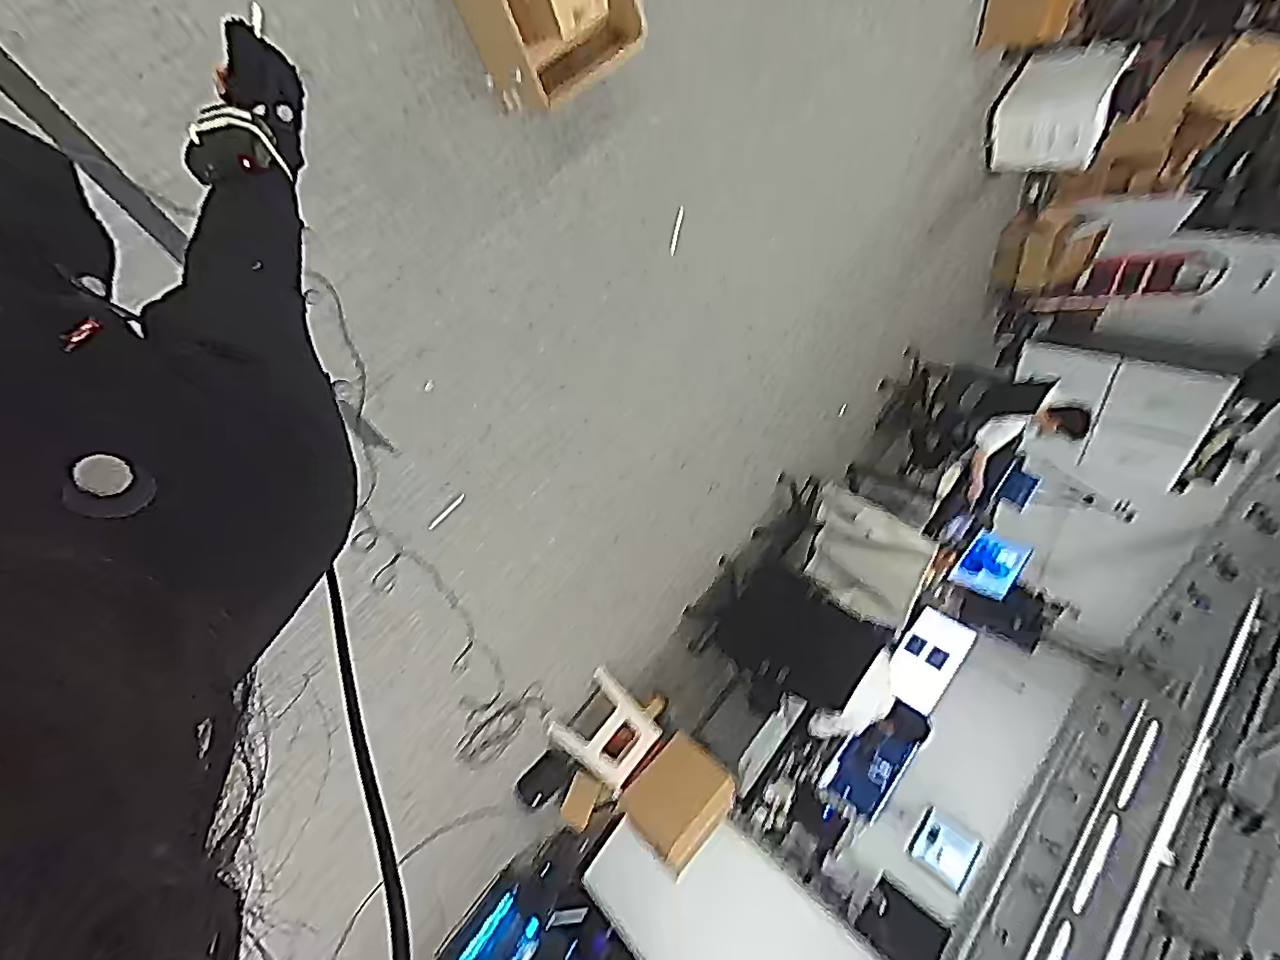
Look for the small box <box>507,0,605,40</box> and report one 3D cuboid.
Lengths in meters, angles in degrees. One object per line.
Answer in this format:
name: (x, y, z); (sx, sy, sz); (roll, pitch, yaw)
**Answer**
small box: (-0.222, -1.202, 1.295); (0.168, 0.176, 0.179); (-46, 137, -17)
